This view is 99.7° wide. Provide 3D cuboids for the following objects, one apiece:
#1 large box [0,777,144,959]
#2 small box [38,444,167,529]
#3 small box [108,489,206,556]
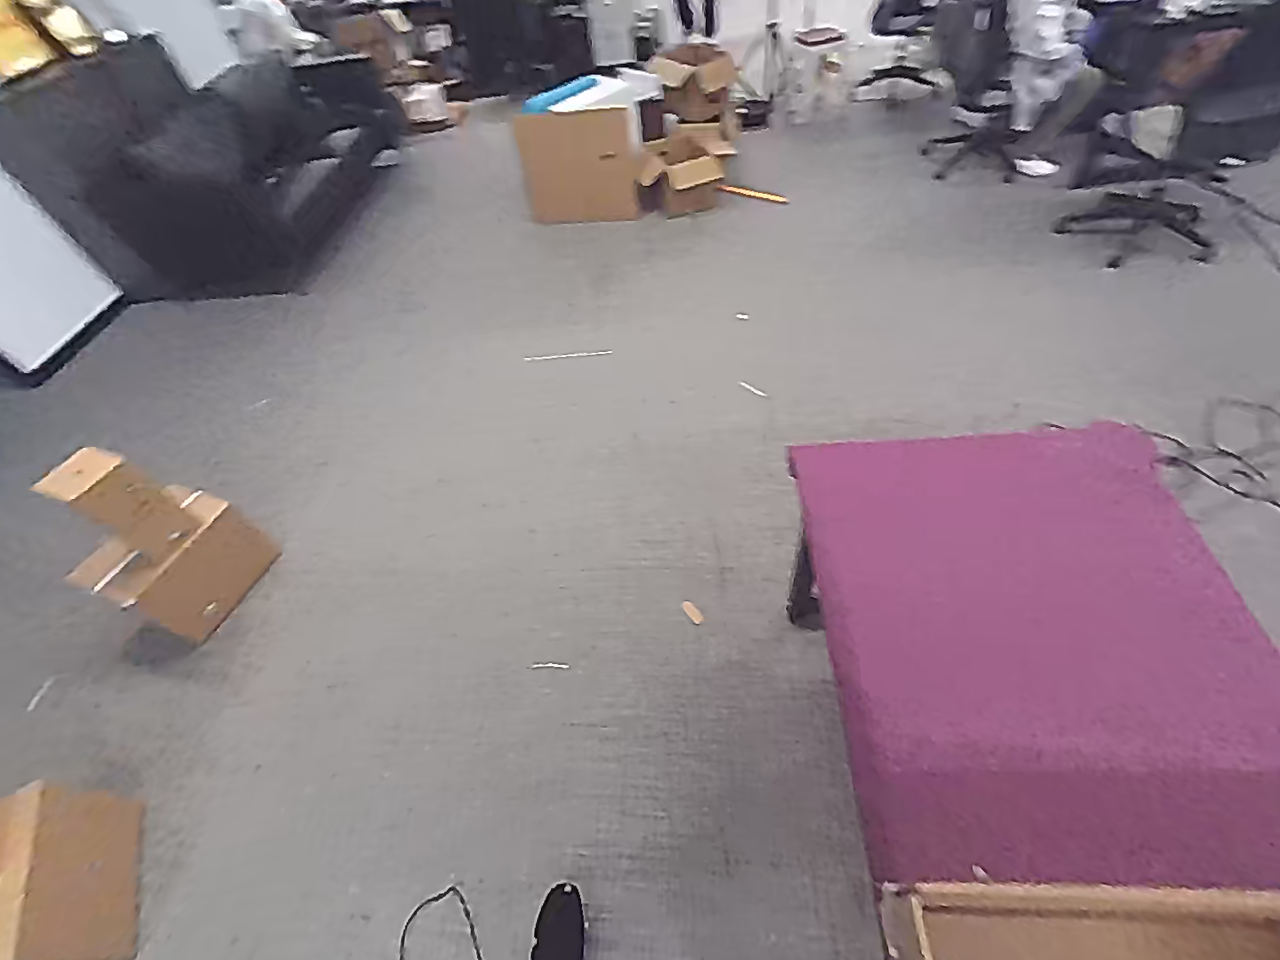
[{"bbox_3d":[-1.485,1.017,1.303,0.320,0.320,0.408,-29,54,-13],"label":"large box"},{"bbox_3d":[-1.570,0.022,1.593,0.179,0.176,0.168,14,54,18],"label":"small box"},{"bbox_3d":[-1.558,0.120,1.723,0.179,0.176,0.168,16,55,18],"label":"small box"}]
